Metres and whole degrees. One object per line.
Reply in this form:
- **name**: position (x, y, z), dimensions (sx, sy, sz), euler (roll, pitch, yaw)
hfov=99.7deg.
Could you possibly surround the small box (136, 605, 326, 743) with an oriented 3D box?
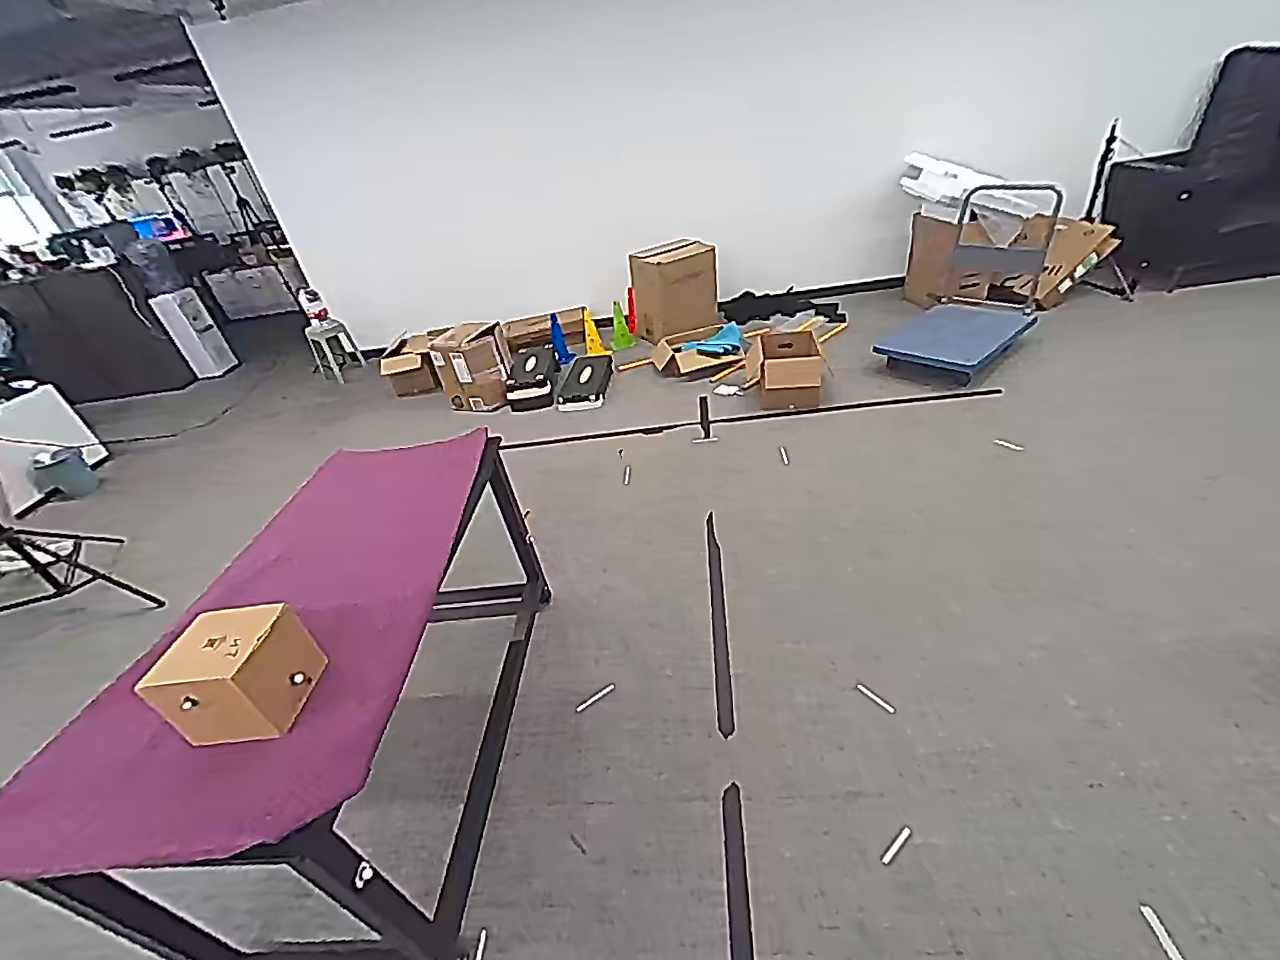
- **small box**: position (-0.715, 0.350, 0.971), dimensions (0.179, 0.176, 0.168), euler (-7, 33, 5)
